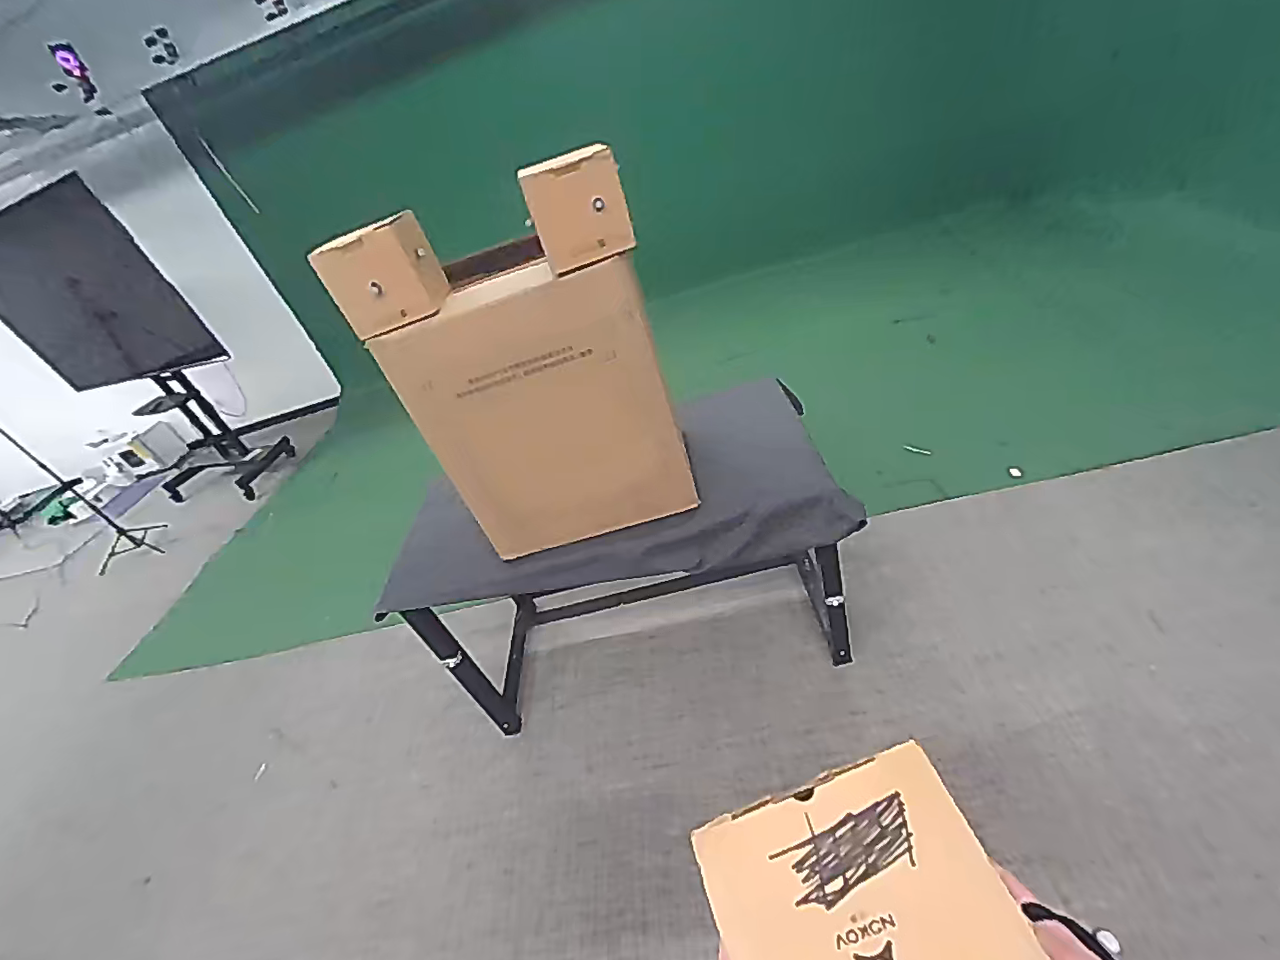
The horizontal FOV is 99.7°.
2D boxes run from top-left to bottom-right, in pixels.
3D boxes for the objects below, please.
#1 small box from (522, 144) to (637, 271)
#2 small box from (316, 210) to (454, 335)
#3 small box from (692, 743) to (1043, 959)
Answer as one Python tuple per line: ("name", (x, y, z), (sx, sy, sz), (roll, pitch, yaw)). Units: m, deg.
("small box", (-0.113, -0.510, 1.020), (0.168, 0.176, 0.179), (-18, 34, 0))
("small box", (-0.493, -0.408, 1.077), (0.168, 0.176, 0.179), (-19, 35, 5))
("small box", (0.153, 0.312, 0.365), (0.168, 0.176, 0.179), (-24, 50, 2))
